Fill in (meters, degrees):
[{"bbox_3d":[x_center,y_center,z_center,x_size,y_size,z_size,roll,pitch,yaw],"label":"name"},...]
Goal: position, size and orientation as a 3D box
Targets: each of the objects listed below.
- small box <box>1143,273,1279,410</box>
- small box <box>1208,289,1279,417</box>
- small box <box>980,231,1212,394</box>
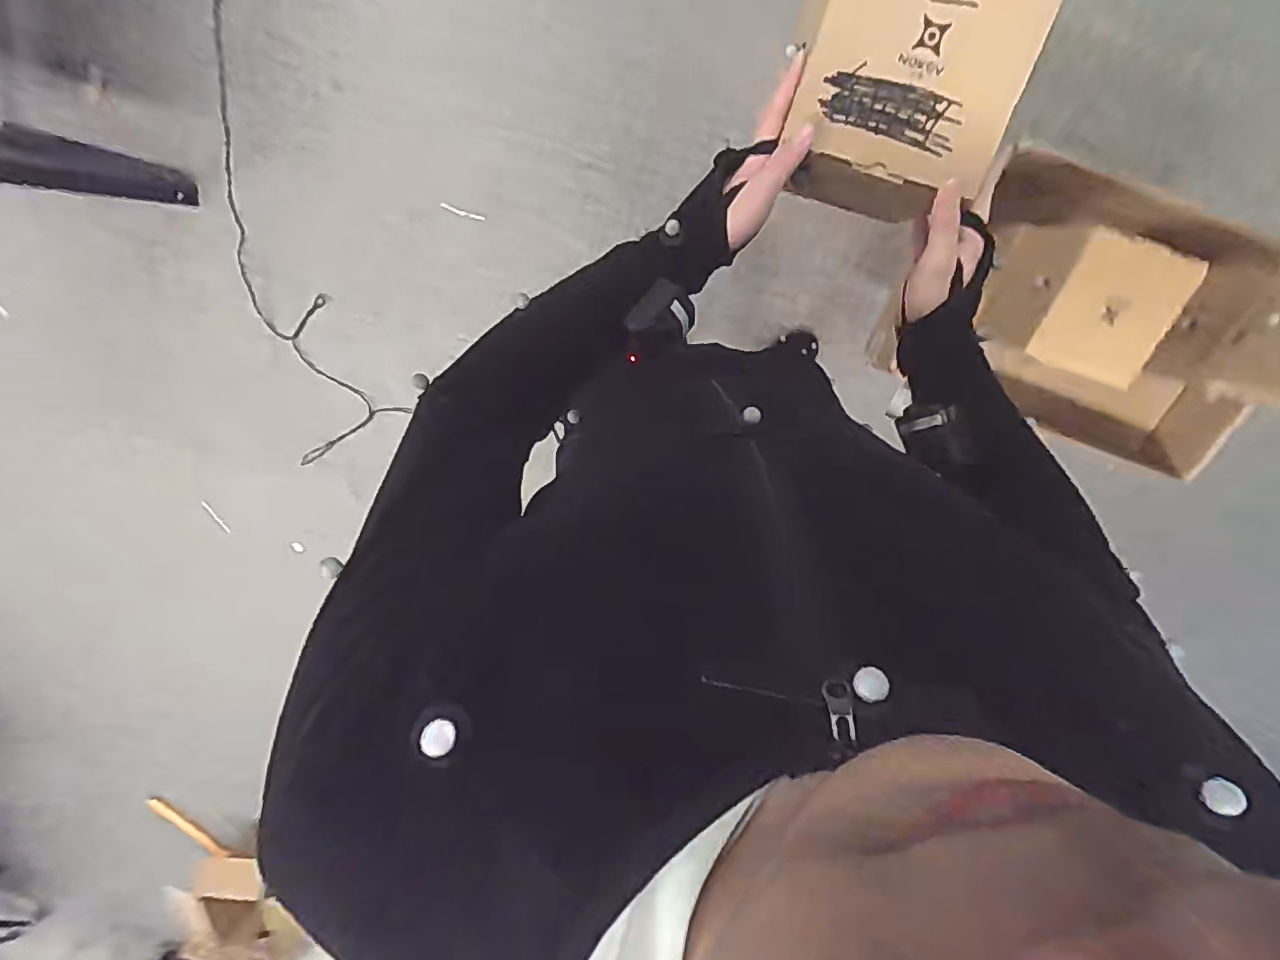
[{"bbox_3d":[0.912,-0.198,0.798,0.179,0.176,0.168,16,113,2],"label":"small box"},{"bbox_3d":[0.877,-0.142,0.646,0.179,0.176,0.168,23,112,-1],"label":"small box"},{"bbox_3d":[0.652,-0.252,0.806,0.168,0.176,0.179,18,113,-3],"label":"small box"}]
